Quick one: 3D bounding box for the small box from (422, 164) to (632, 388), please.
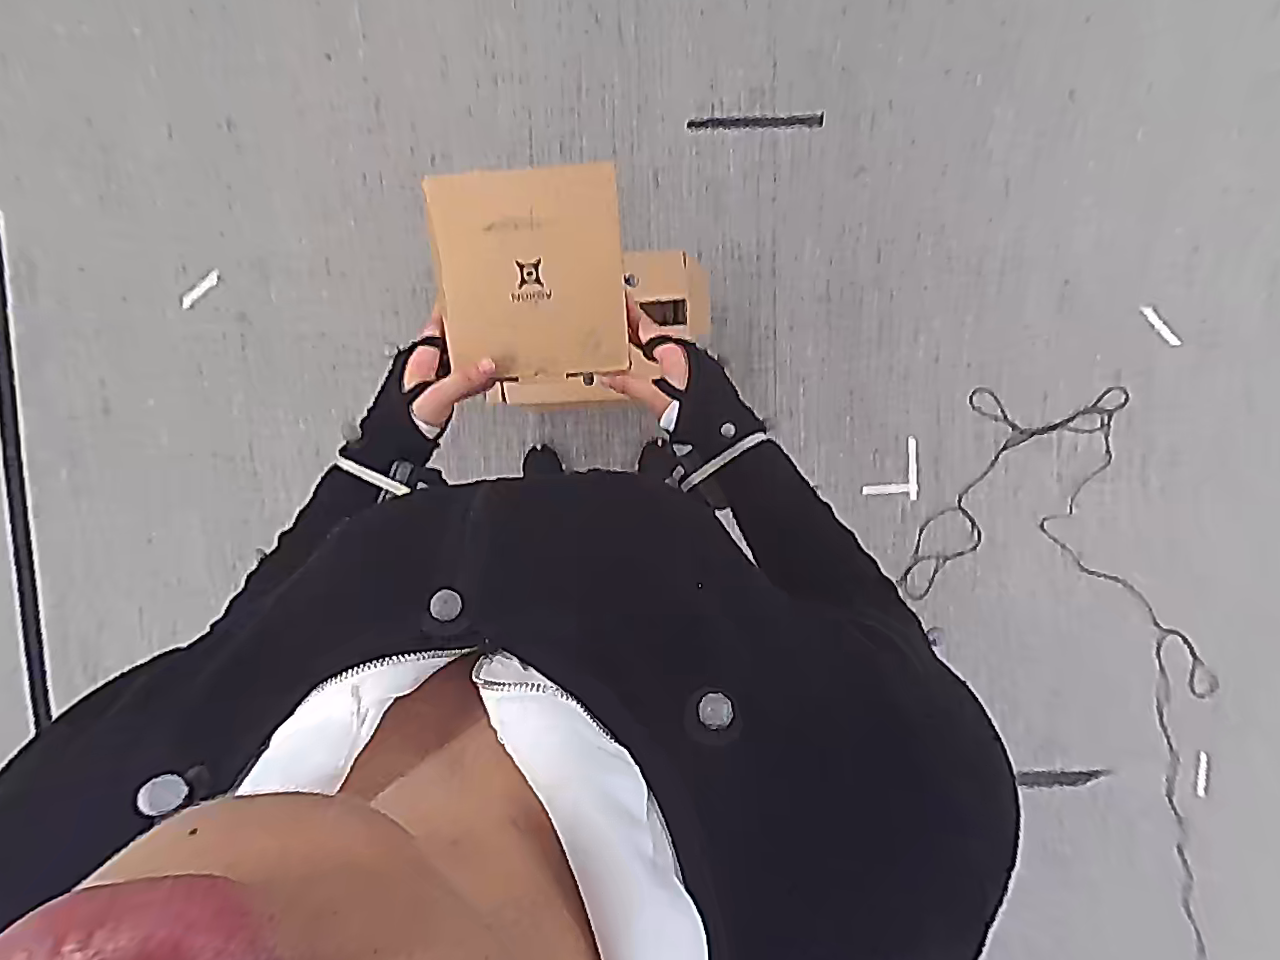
[{"bbox_3d":[-0.095,-0.193,0.544,0.168,0.176,0.179,-5,105,0],"label":"small box"}]
